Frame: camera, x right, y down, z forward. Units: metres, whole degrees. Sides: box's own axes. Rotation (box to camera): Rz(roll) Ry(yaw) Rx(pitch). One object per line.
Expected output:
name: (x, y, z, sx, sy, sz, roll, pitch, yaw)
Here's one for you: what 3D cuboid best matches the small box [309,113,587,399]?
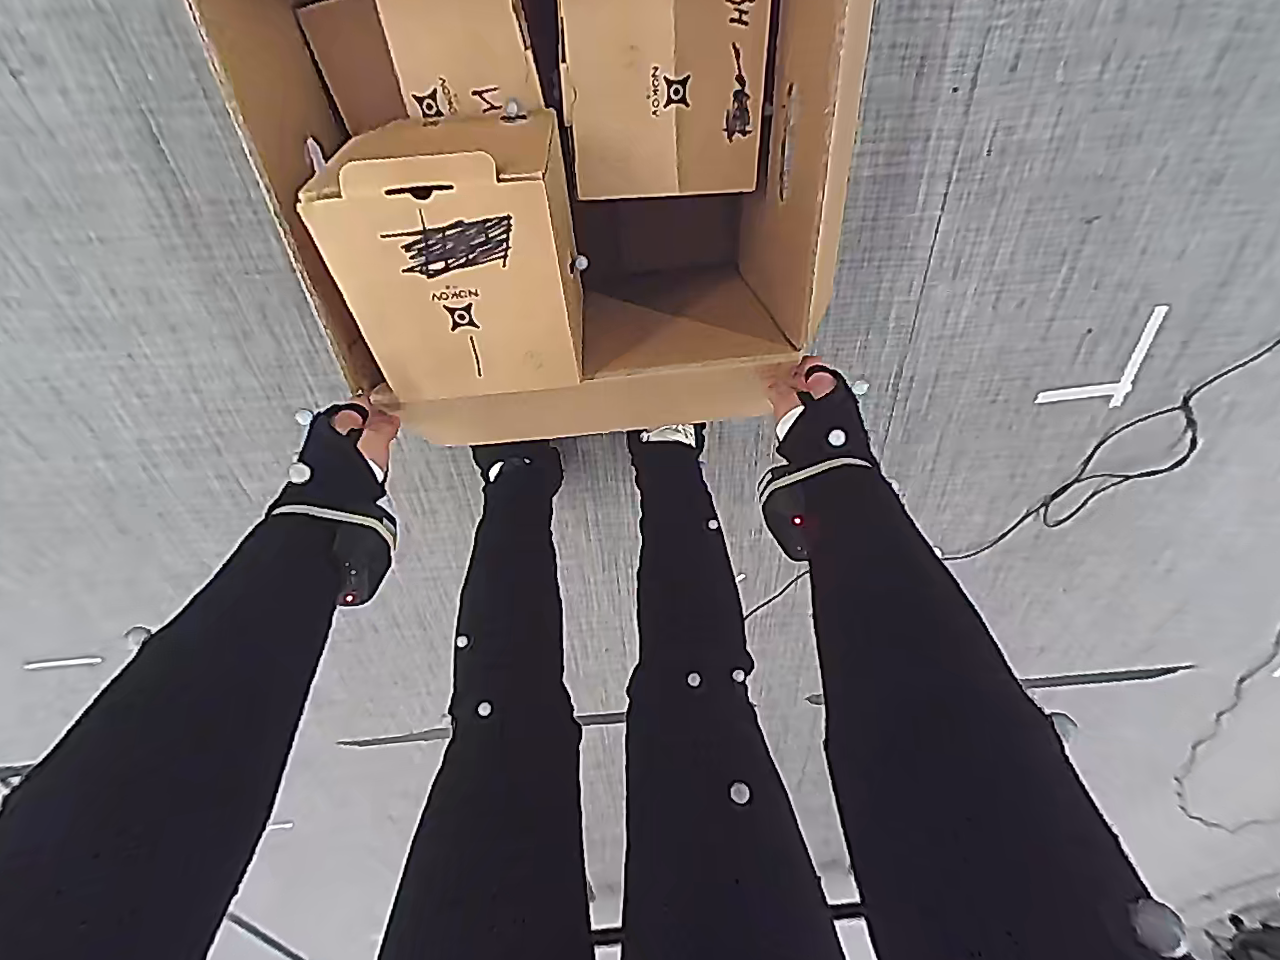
small box: (-0.138, -0.195, 0.464, 0.168, 0.176, 0.179, -5, 138, -1)
